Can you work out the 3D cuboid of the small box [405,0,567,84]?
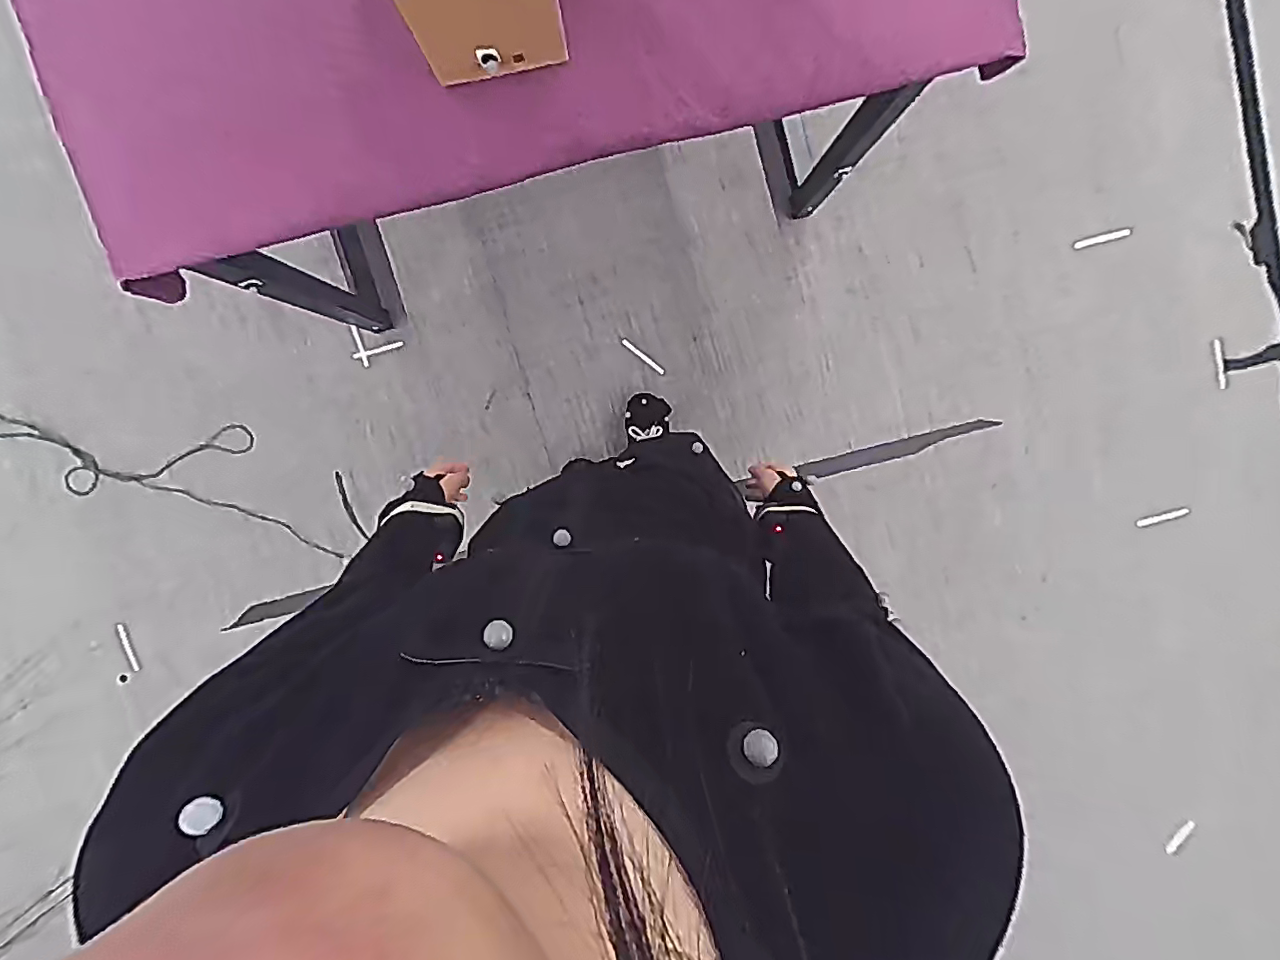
[{"bbox_3d":[-0.184,-0.591,0.596,0.168,0.176,0.179,-12,97,0],"label":"small box"}]
